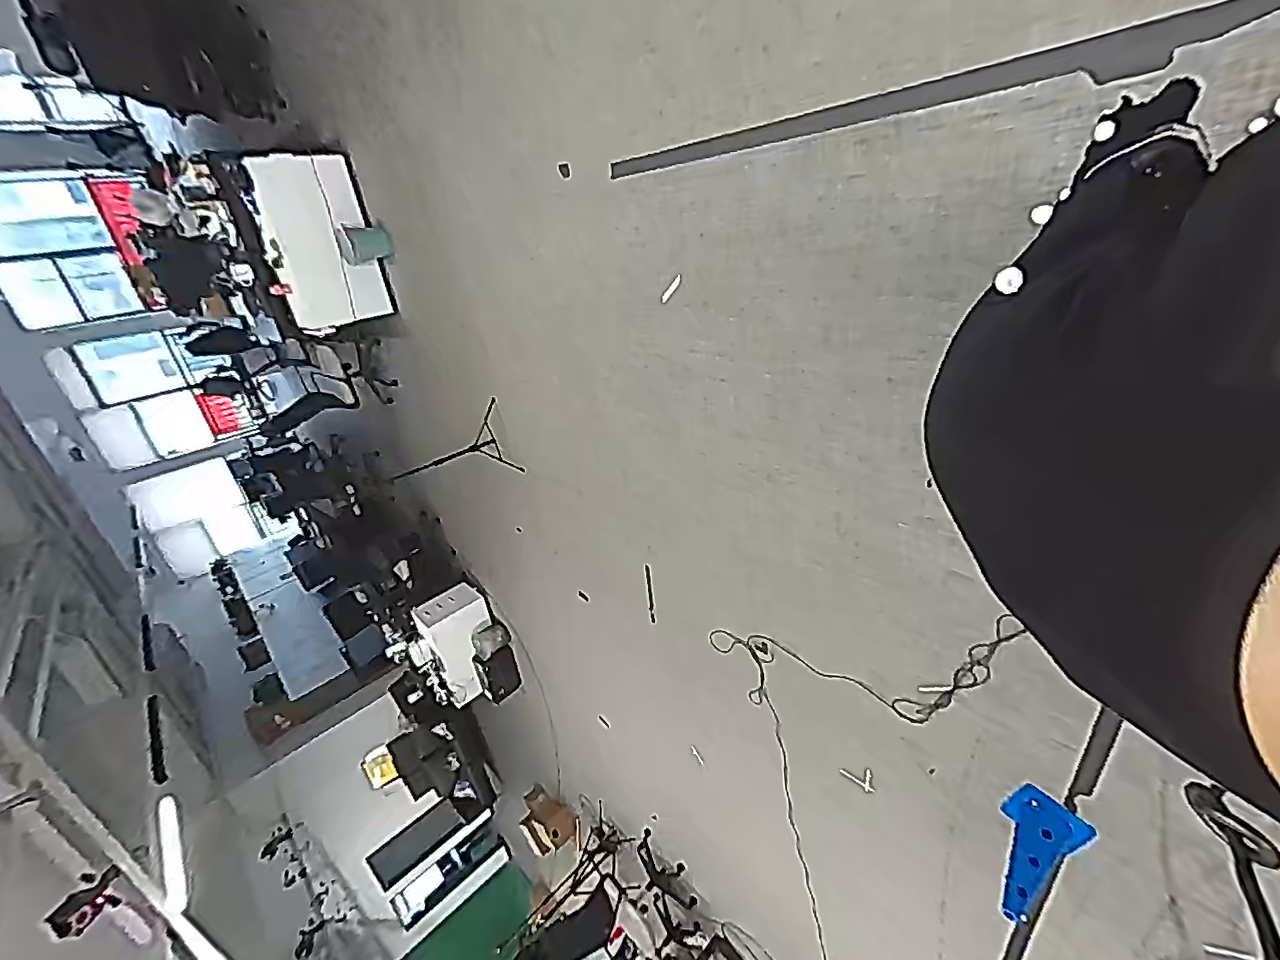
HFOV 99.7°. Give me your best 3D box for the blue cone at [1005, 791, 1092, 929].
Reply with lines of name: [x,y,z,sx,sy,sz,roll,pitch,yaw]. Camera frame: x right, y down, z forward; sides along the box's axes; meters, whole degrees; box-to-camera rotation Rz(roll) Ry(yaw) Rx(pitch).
blue cone: [1.157,1.142,1.601,0.192,0.380,0.193,34,136,31]
